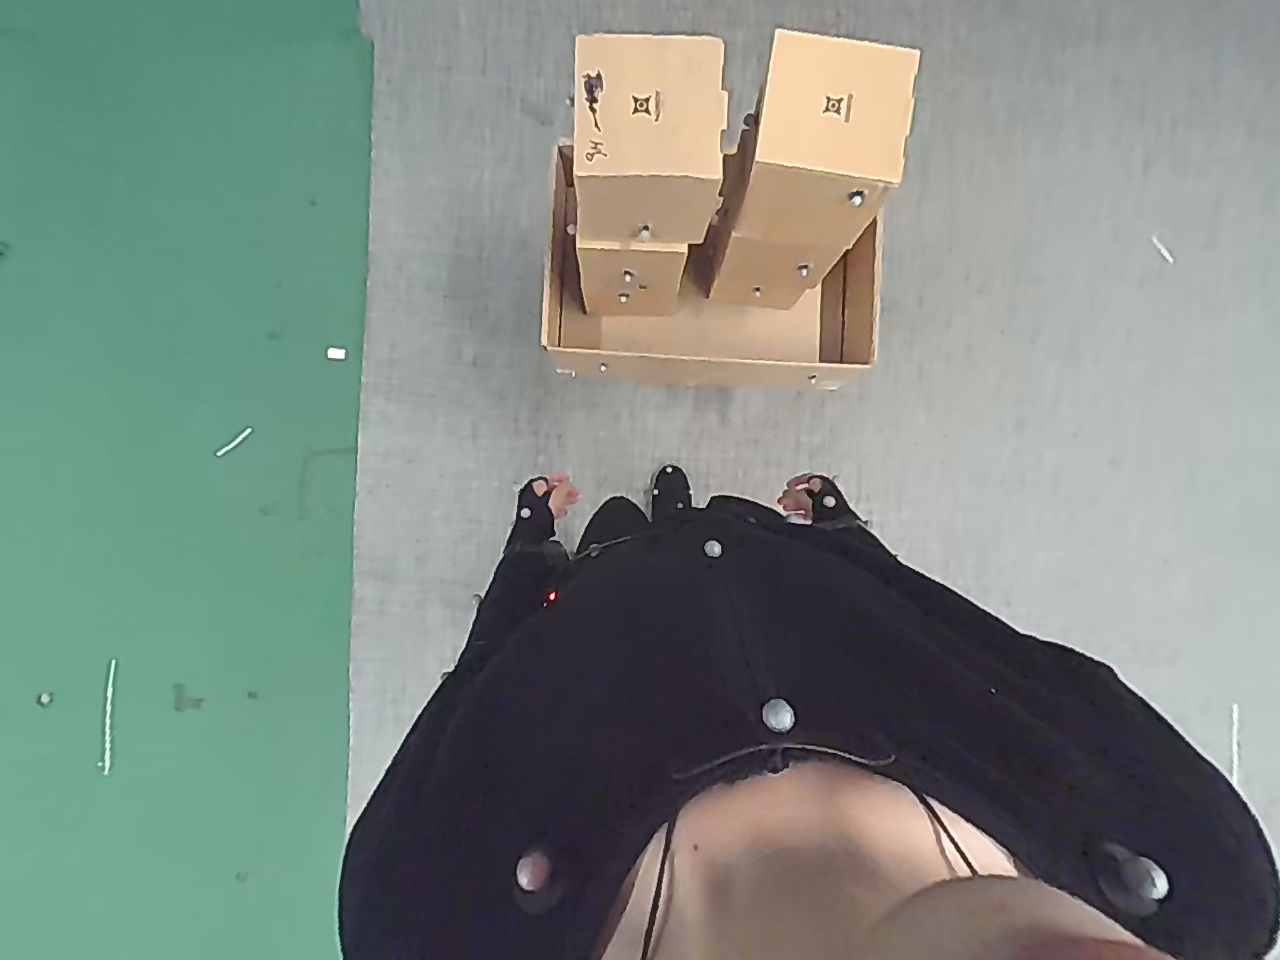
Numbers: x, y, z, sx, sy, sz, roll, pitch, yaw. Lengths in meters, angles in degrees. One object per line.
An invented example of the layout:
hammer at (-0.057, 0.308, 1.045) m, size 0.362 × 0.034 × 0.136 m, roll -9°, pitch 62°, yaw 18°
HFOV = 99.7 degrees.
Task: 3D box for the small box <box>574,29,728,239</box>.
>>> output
small box at (0.010, -0.430, 0.700) m, size 0.179 × 0.176 × 0.168 m, roll 1°, pitch 90°, yaw -2°
